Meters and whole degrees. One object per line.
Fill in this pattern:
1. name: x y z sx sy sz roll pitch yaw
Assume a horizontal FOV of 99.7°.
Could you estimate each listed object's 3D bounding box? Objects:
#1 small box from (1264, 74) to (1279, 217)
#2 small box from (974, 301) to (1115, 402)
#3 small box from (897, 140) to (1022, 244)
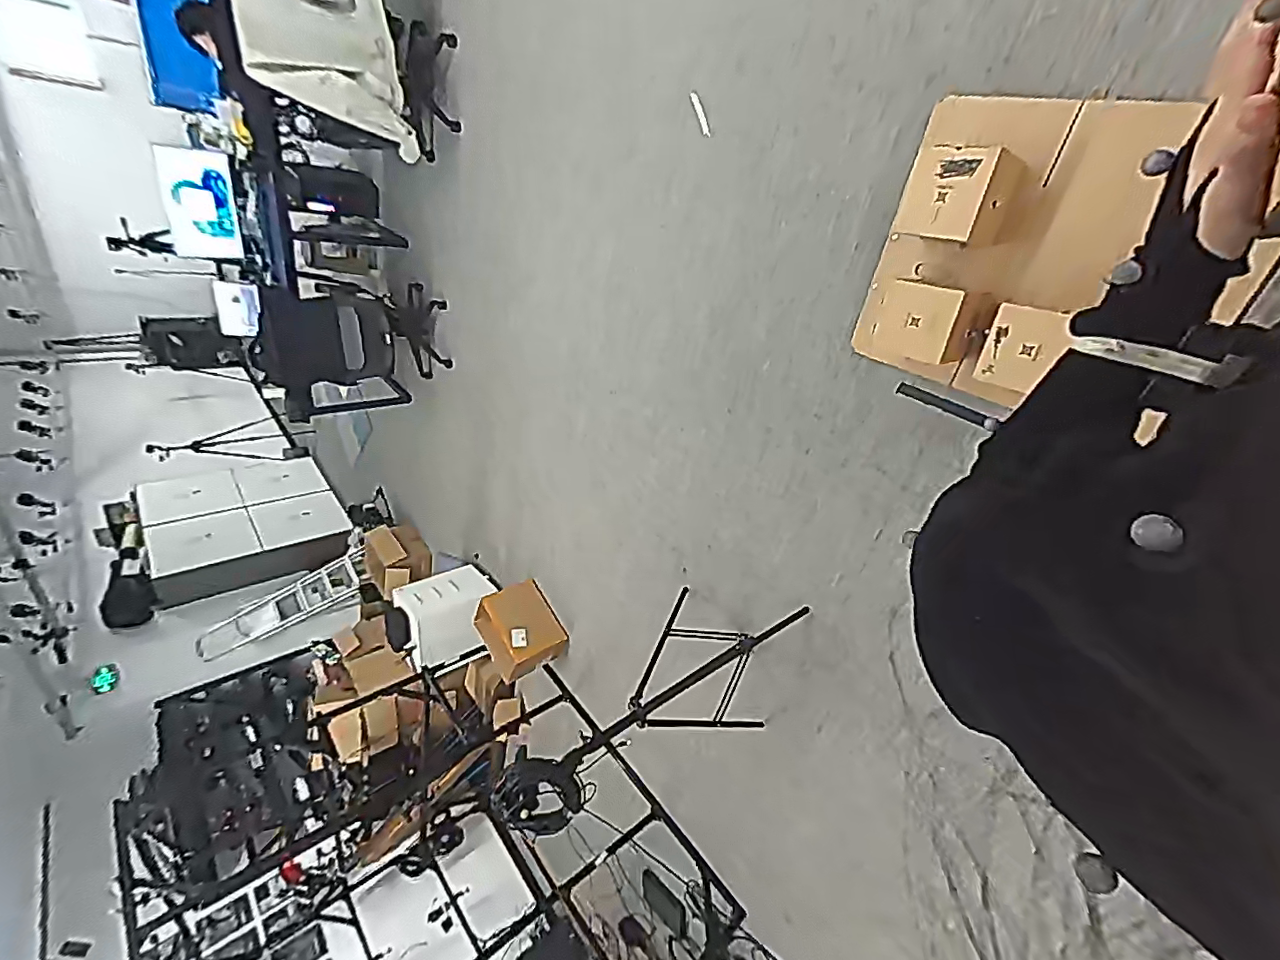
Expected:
1. small box: 0.396 -0.222 0.222 0.168 0.176 0.179 8 107 45
2. small box: 0.850 -0.278 1.135 0.179 0.176 0.168 31 124 38
3. small box: 0.705 -0.629 1.188 0.168 0.176 0.179 32 125 39
